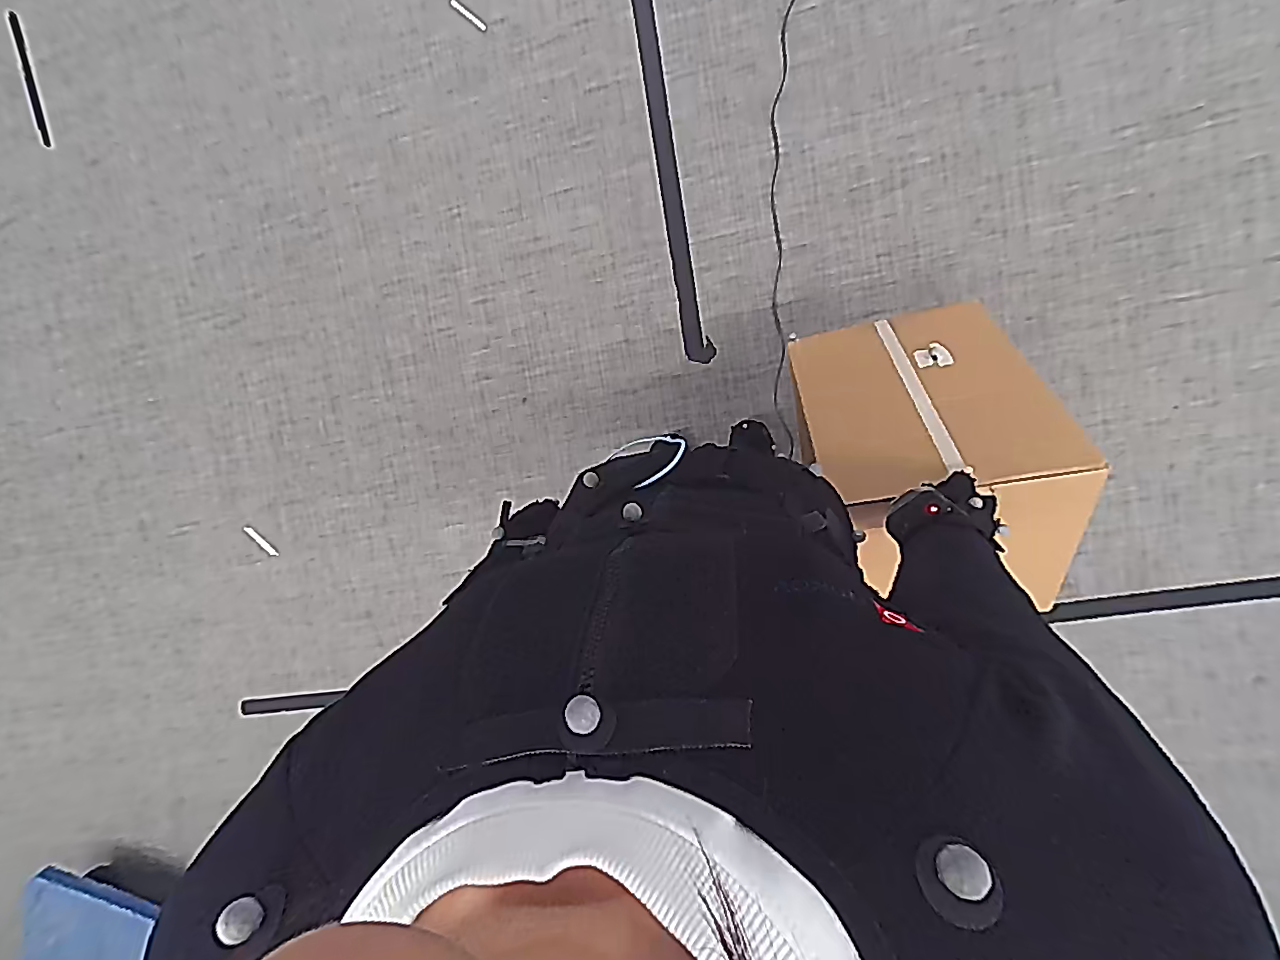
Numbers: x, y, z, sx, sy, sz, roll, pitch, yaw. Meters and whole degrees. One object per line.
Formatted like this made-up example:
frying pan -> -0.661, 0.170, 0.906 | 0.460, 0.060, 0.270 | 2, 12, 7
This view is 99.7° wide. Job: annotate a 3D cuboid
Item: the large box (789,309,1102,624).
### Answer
large box -> 0.452, -0.024, 0.908 | 0.320, 0.408, 0.320 | -9, 133, 13
